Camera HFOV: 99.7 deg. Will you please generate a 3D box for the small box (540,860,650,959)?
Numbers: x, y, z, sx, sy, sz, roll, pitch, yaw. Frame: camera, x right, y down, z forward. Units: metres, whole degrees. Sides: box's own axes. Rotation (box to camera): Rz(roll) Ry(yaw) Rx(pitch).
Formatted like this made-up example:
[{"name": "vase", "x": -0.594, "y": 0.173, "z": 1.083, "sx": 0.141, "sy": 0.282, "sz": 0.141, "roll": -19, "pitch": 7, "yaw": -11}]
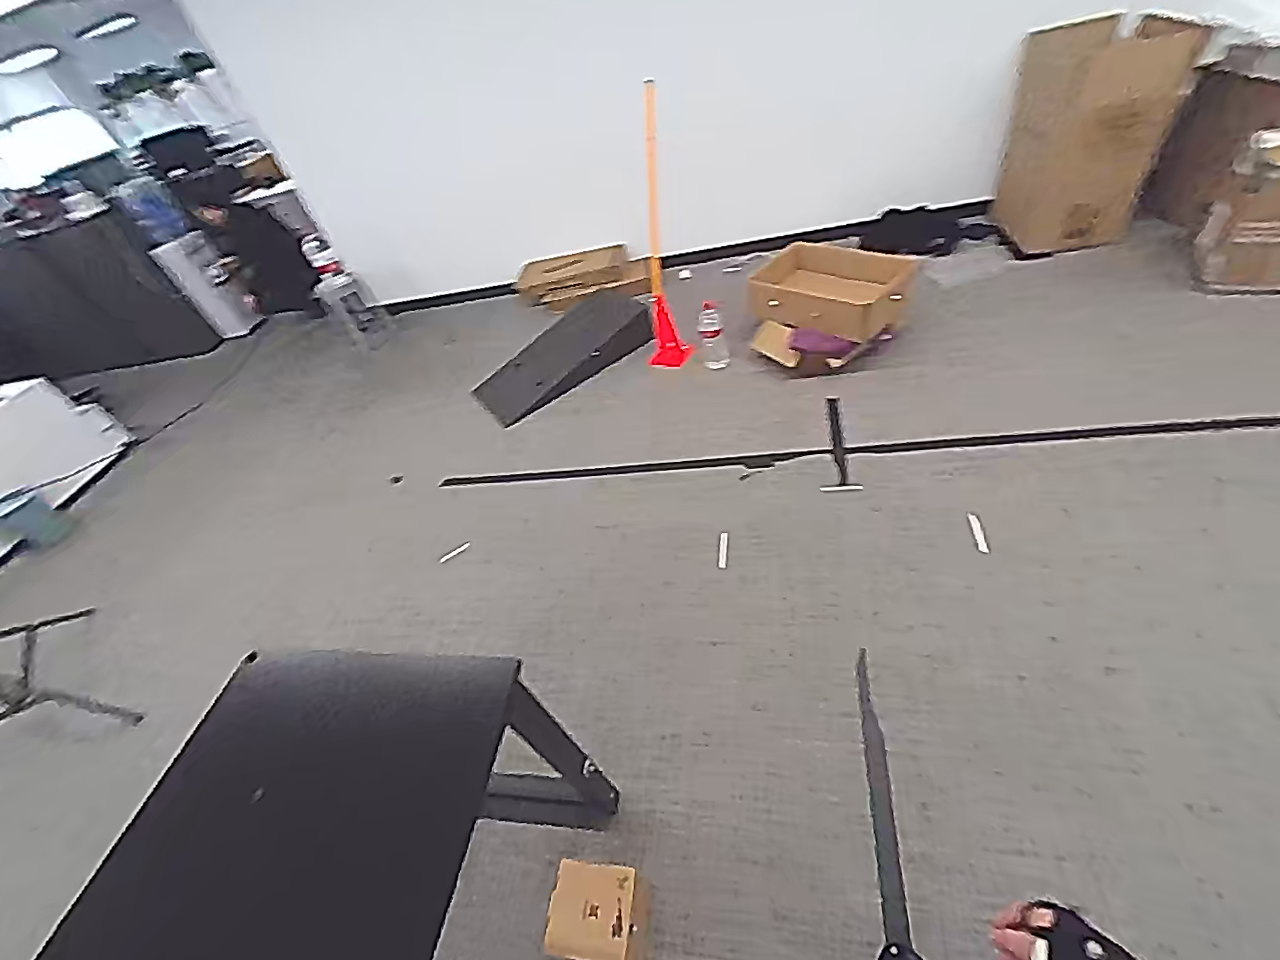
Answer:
[{"name": "small box", "x": -0.089, "y": 0.952, "z": 1.175, "sx": 0.179, "sy": 0.176, "sz": 0.168, "roll": -4, "pitch": 45, "yaw": 15}]
